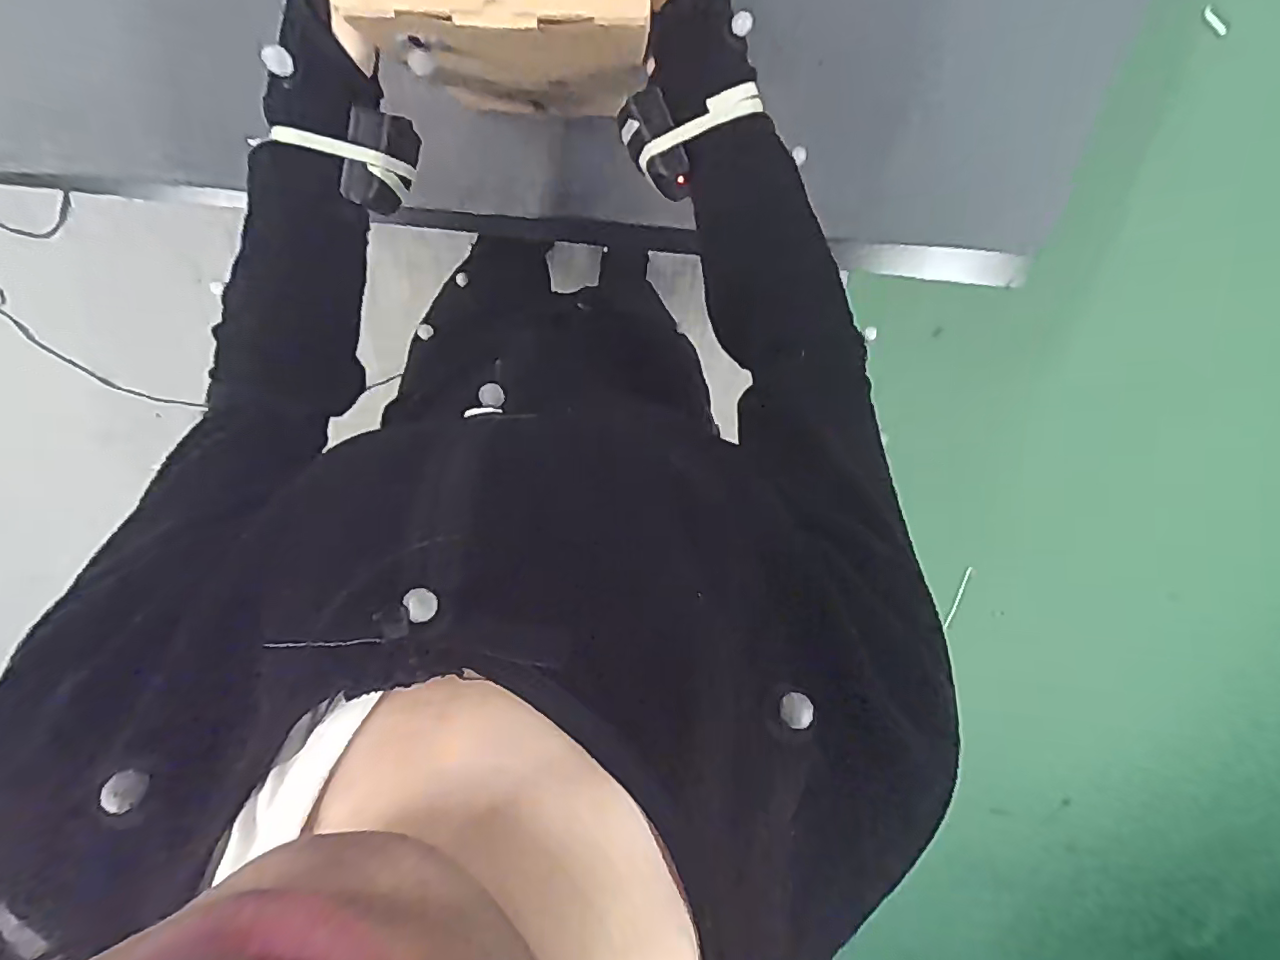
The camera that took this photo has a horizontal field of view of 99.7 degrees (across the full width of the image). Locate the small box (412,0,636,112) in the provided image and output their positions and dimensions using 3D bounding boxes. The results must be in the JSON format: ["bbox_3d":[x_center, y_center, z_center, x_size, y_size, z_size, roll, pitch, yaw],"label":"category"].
[{"bbox_3d":[-0.089,-0.432,0.451,0.168,0.176,0.179,0,115,-4],"label":"small box"}]
